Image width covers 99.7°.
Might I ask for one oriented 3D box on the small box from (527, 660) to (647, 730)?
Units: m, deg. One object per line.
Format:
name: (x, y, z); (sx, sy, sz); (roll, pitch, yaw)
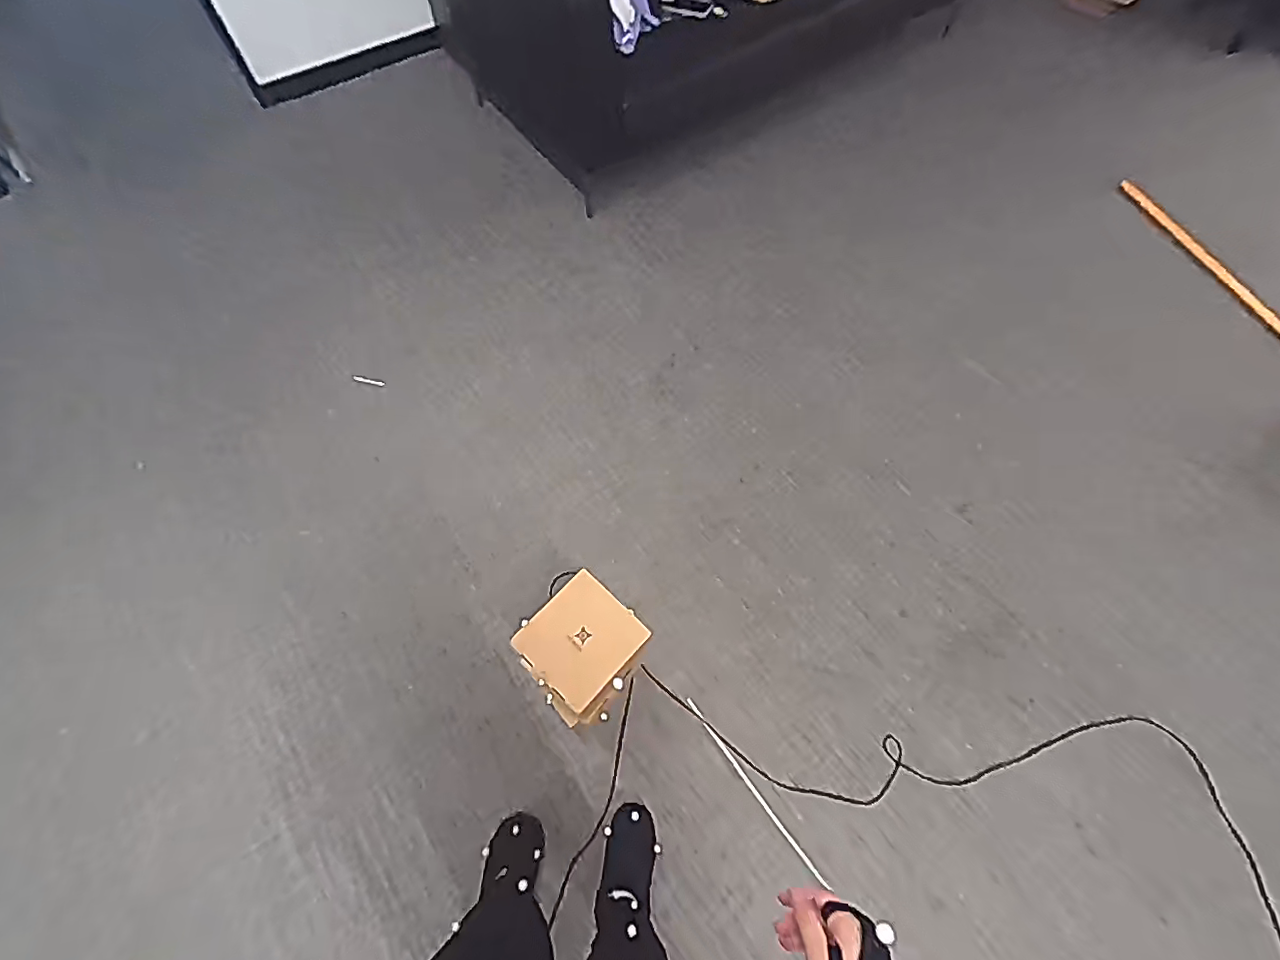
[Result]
small box: (-0.101, 0.387, 1.113); (0.179, 0.176, 0.168); (36, 69, 17)

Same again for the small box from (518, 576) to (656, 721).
small box: (-0.090, 0.306, 0.971); (0.168, 0.176, 0.179); (40, 71, 17)
